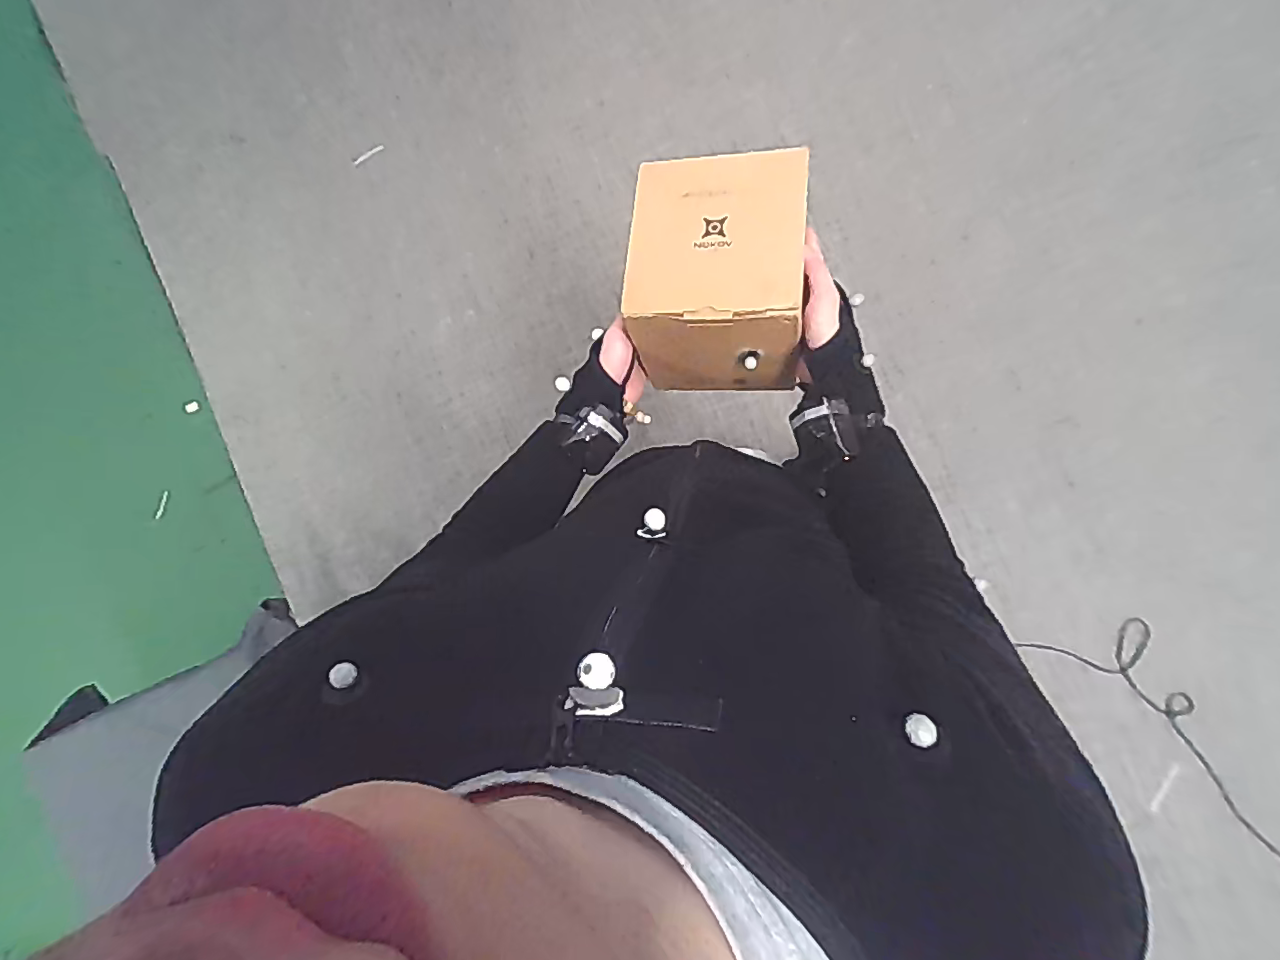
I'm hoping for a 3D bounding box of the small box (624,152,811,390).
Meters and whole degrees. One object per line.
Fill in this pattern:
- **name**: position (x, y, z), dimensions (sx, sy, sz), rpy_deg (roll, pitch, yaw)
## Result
- **small box**: position (0.089, -0.207, 0.579), dimensions (0.168, 0.176, 0.179), rpy_deg (3, 74, 13)
